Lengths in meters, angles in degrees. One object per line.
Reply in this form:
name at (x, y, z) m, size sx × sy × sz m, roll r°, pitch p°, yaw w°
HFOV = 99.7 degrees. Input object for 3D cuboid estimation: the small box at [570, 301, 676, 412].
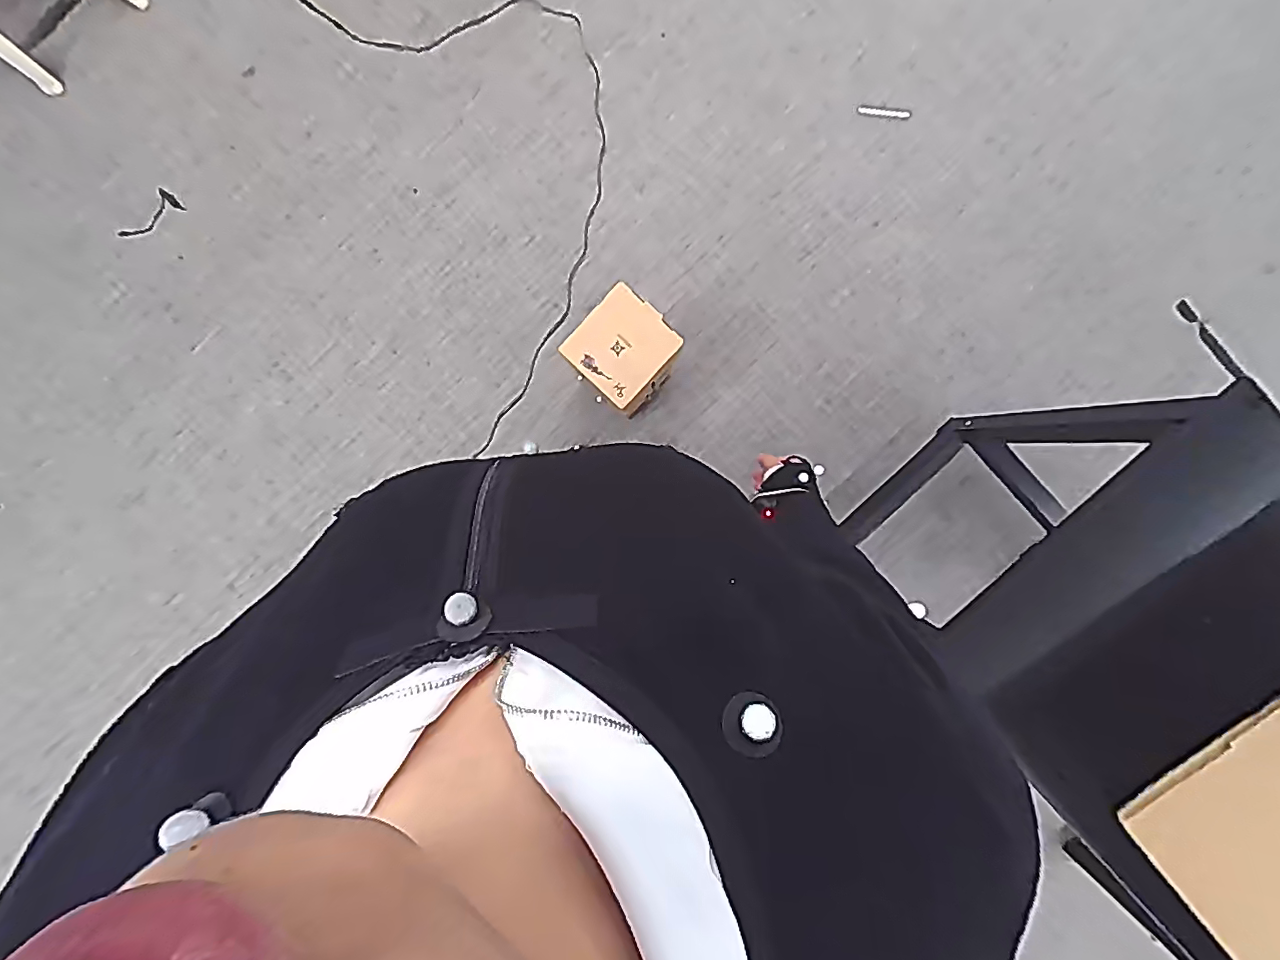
small box at (-0.037, -0.272, 1.244) m, size 0.168 × 0.176 × 0.179 m, roll 40°, pitch 91°, yaw -3°

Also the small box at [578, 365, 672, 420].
small box at (-0.039, -0.274, 1.406) m, size 0.168 × 0.176 × 0.179 m, roll 43°, pitch 93°, yaw -2°
